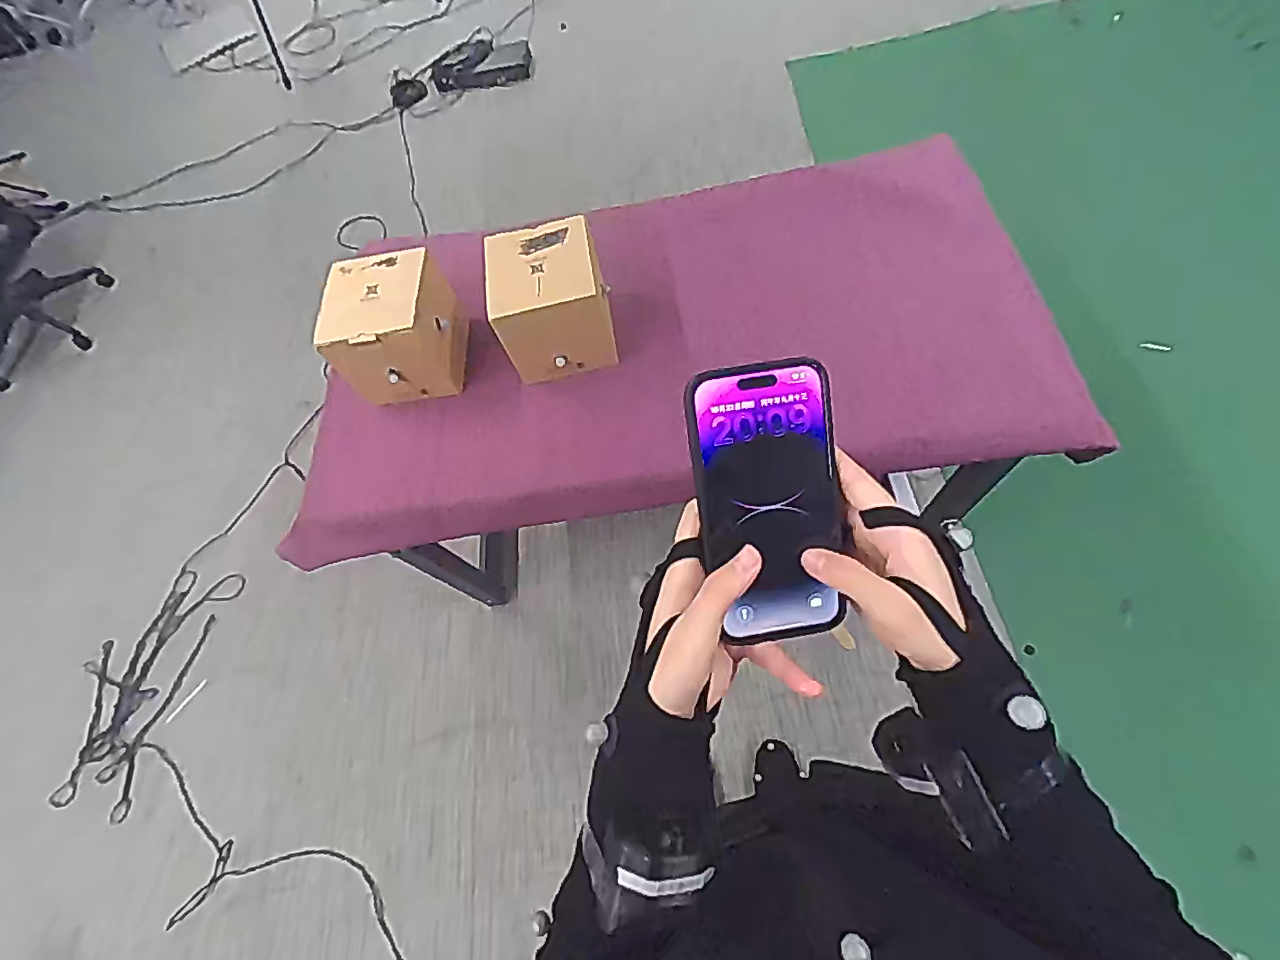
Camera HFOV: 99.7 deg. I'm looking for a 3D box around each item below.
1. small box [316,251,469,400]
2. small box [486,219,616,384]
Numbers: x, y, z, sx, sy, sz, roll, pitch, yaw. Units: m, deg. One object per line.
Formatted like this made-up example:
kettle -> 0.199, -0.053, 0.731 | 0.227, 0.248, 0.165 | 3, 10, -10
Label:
small box -> -0.406, -0.251, 0.920 | 0.168, 0.176, 0.179 | -7, 64, 7
small box -> -0.142, -0.288, 0.891 | 0.168, 0.176, 0.179 | -12, 64, 5
